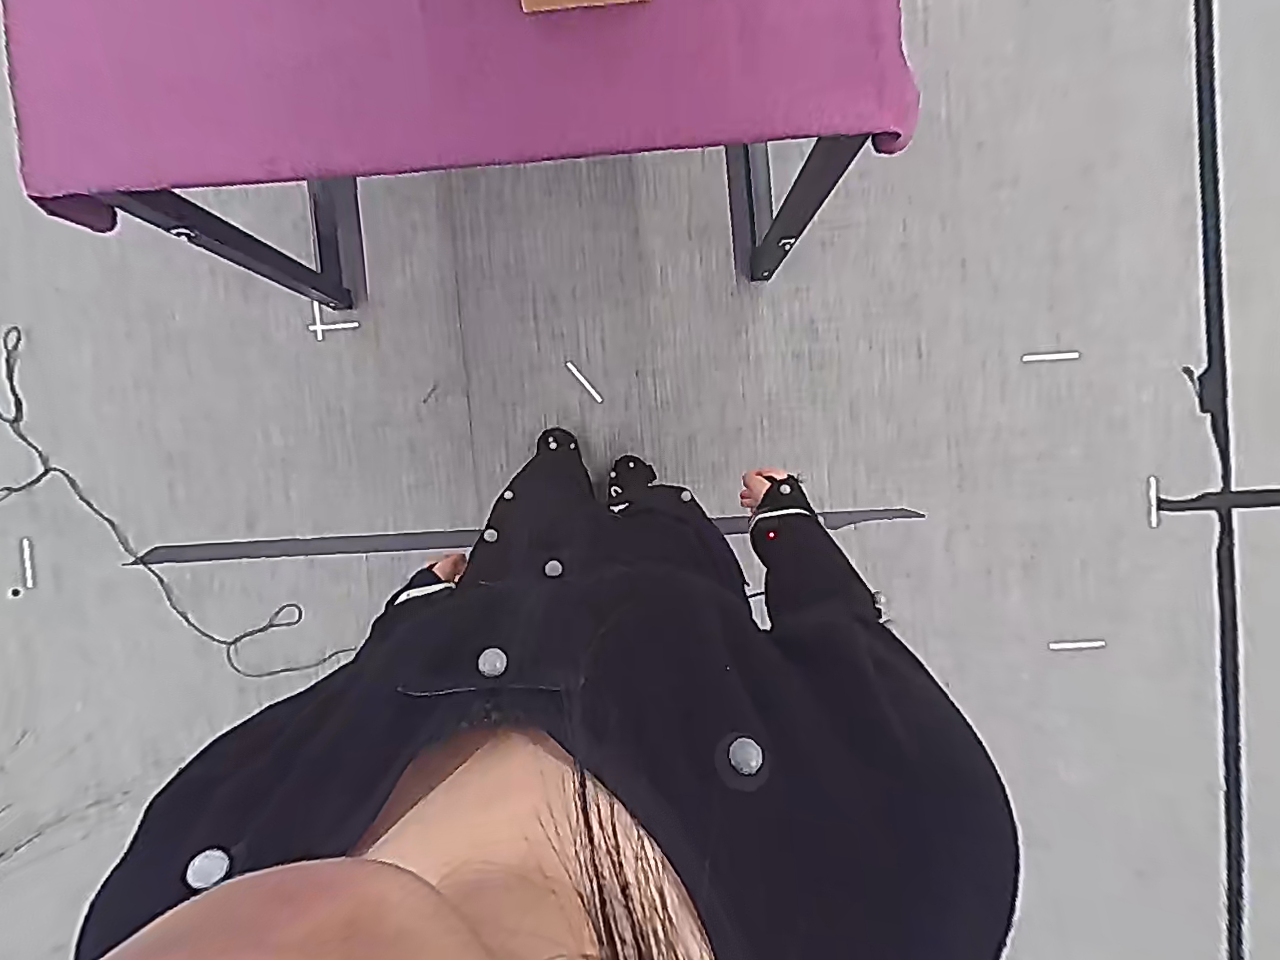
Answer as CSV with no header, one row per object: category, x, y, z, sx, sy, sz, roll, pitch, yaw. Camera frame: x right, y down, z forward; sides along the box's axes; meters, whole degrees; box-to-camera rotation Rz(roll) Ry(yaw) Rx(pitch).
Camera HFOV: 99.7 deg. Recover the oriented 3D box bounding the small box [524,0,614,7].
small box,-0.077,-0.719,0.645,0.179,0.176,0.168,-5,92,1
